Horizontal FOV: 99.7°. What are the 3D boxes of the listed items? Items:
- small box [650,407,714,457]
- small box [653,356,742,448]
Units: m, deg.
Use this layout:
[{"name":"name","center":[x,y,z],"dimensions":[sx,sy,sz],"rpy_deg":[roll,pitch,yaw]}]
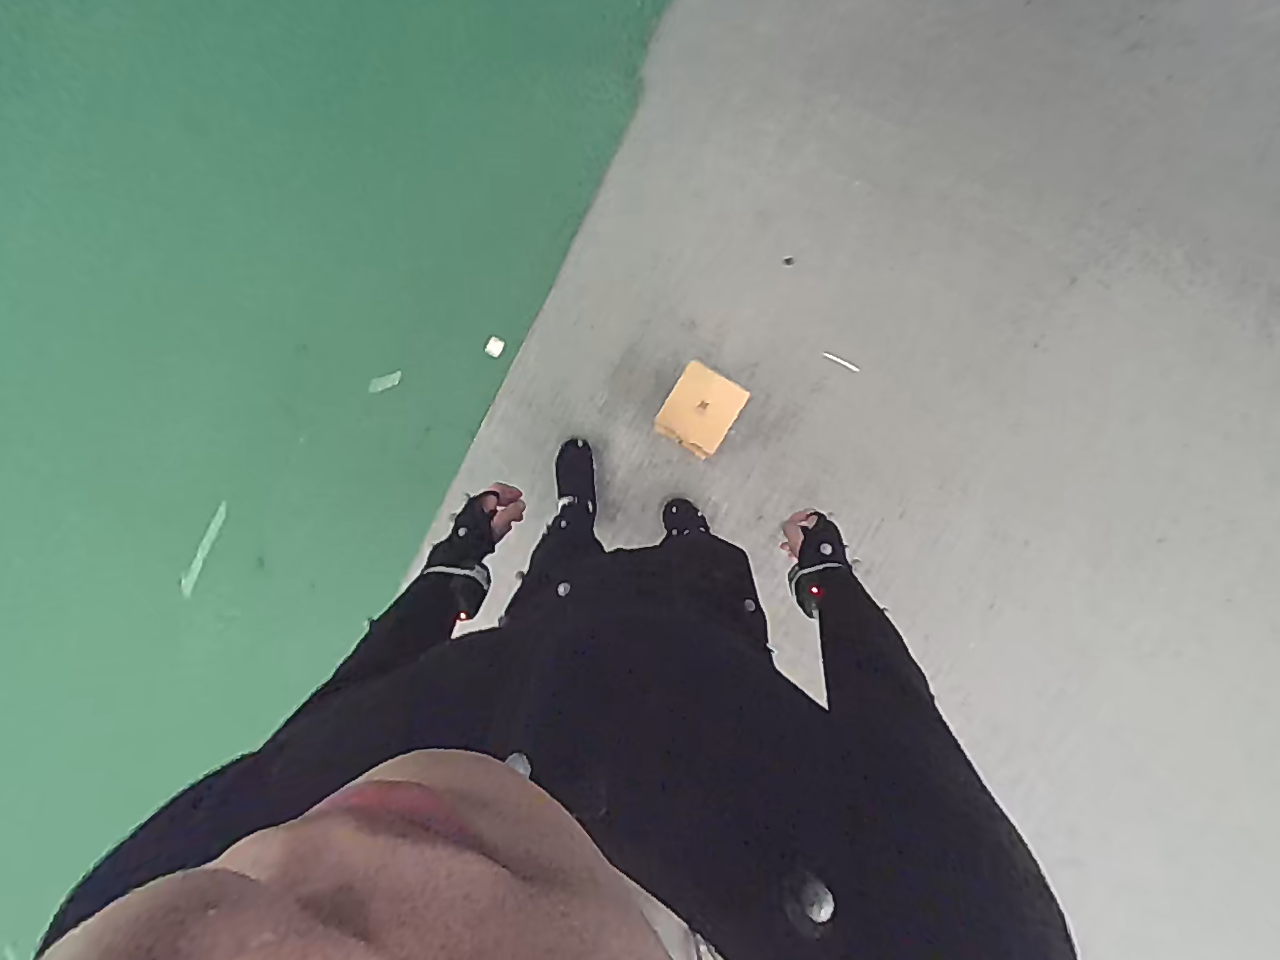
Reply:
[{"name":"small box","center":[0.147,-0.176,1.528],"dimensions":[0.168,0.176,0.179],"rpy_deg":[33,93,2]},{"name":"small box","center":[0.144,-0.188,1.374],"dimensions":[0.168,0.176,0.179],"rpy_deg":[-26,89,7]}]
